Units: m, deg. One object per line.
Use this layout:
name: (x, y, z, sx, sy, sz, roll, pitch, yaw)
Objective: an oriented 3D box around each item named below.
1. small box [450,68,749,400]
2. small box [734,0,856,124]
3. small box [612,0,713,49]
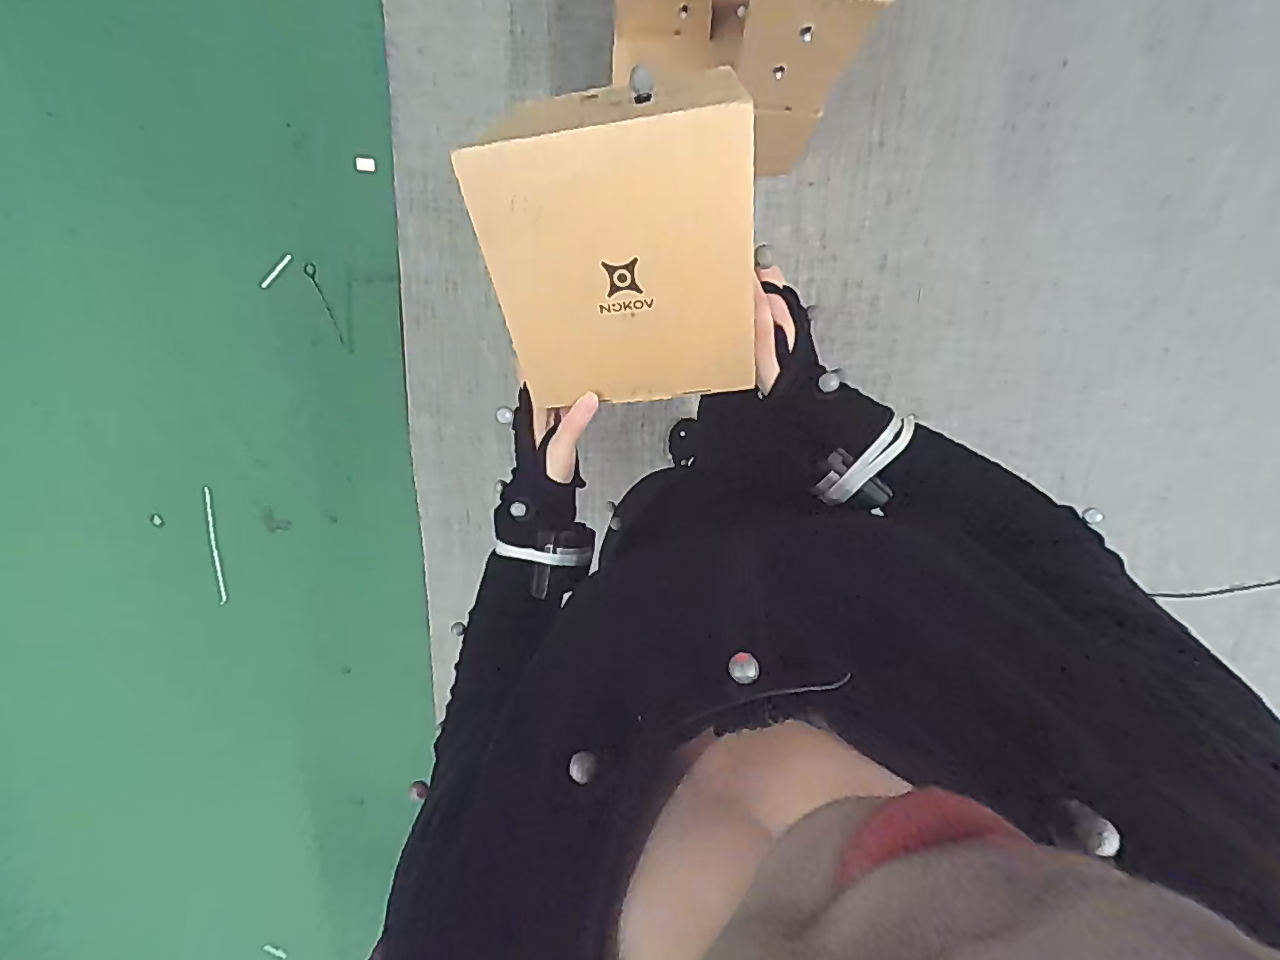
small box: (-0.012, -0.184, 0.400, 0.168, 0.176, 0.179, -4, 132, 8)
small box: (0.253, -0.743, 0.915, 0.168, 0.176, 0.179, 7, 100, 3)
small box: (0.044, -0.870, 0.911, 0.168, 0.176, 0.179, 5, 100, 4)
